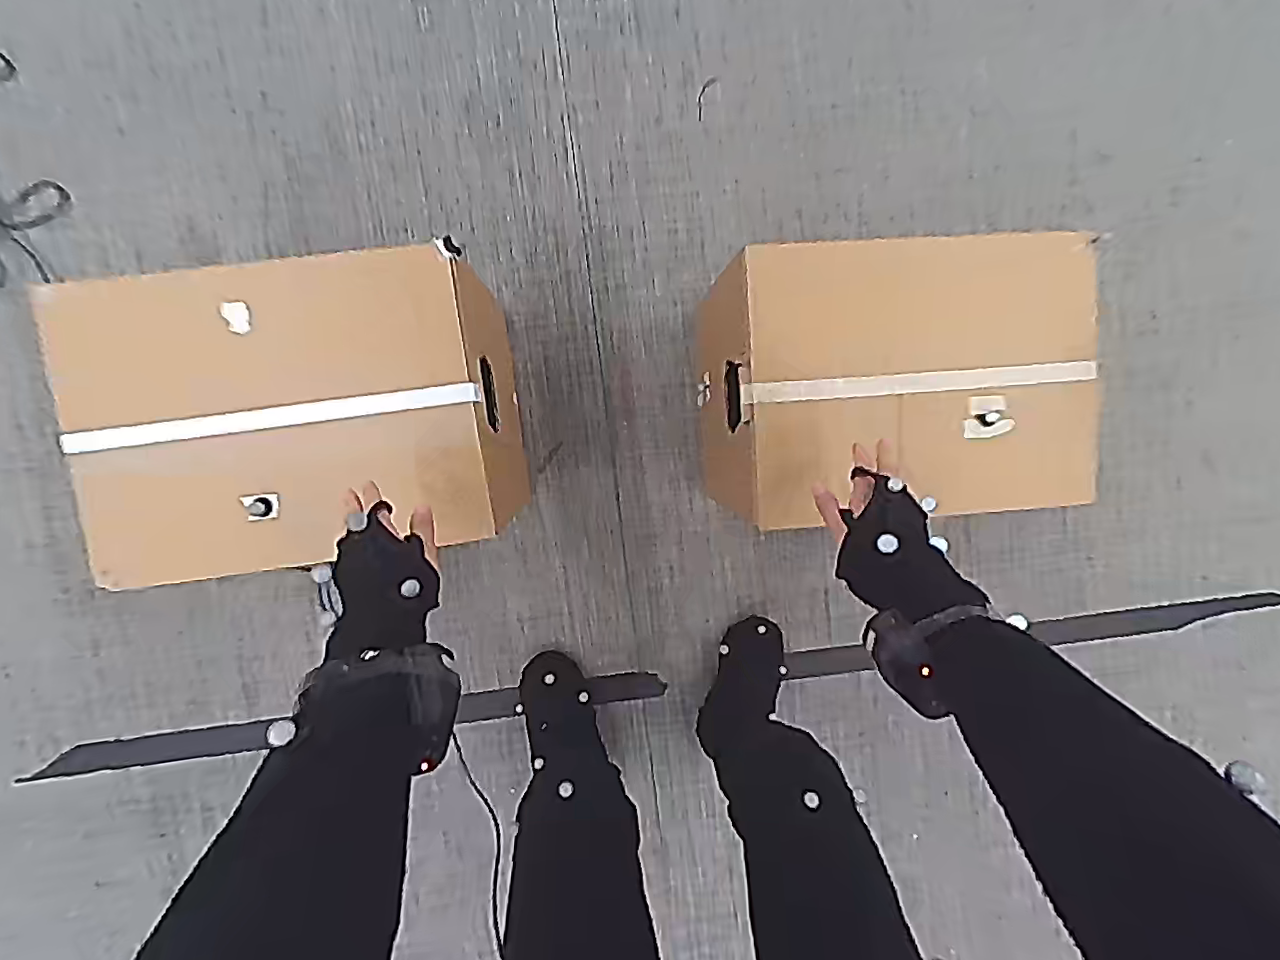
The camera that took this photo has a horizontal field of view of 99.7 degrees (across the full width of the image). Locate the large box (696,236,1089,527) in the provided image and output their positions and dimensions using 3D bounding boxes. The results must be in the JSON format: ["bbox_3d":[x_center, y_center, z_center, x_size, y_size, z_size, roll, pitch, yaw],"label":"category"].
[{"bbox_3d":[0.311,-0.125,0.766,0.408,0.320,0.320,-4,96,-5],"label":"large box"}]
